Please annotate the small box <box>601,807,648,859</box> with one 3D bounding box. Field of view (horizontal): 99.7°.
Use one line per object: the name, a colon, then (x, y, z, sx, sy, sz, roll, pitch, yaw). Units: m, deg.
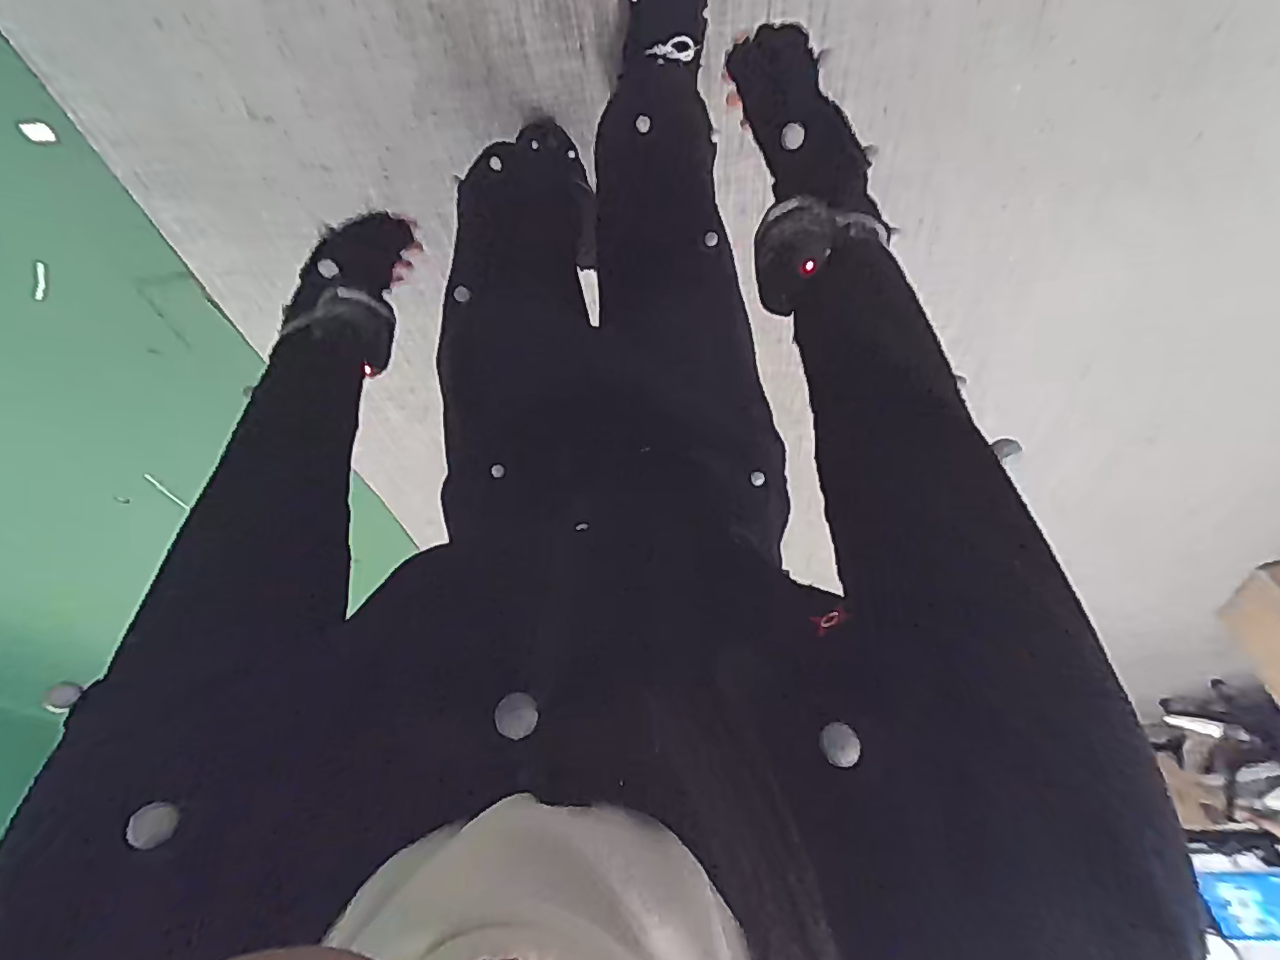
small box: (-0.061, 1.474, 2.251, 0.179, 0.176, 0.168, -6, 143, 6)
